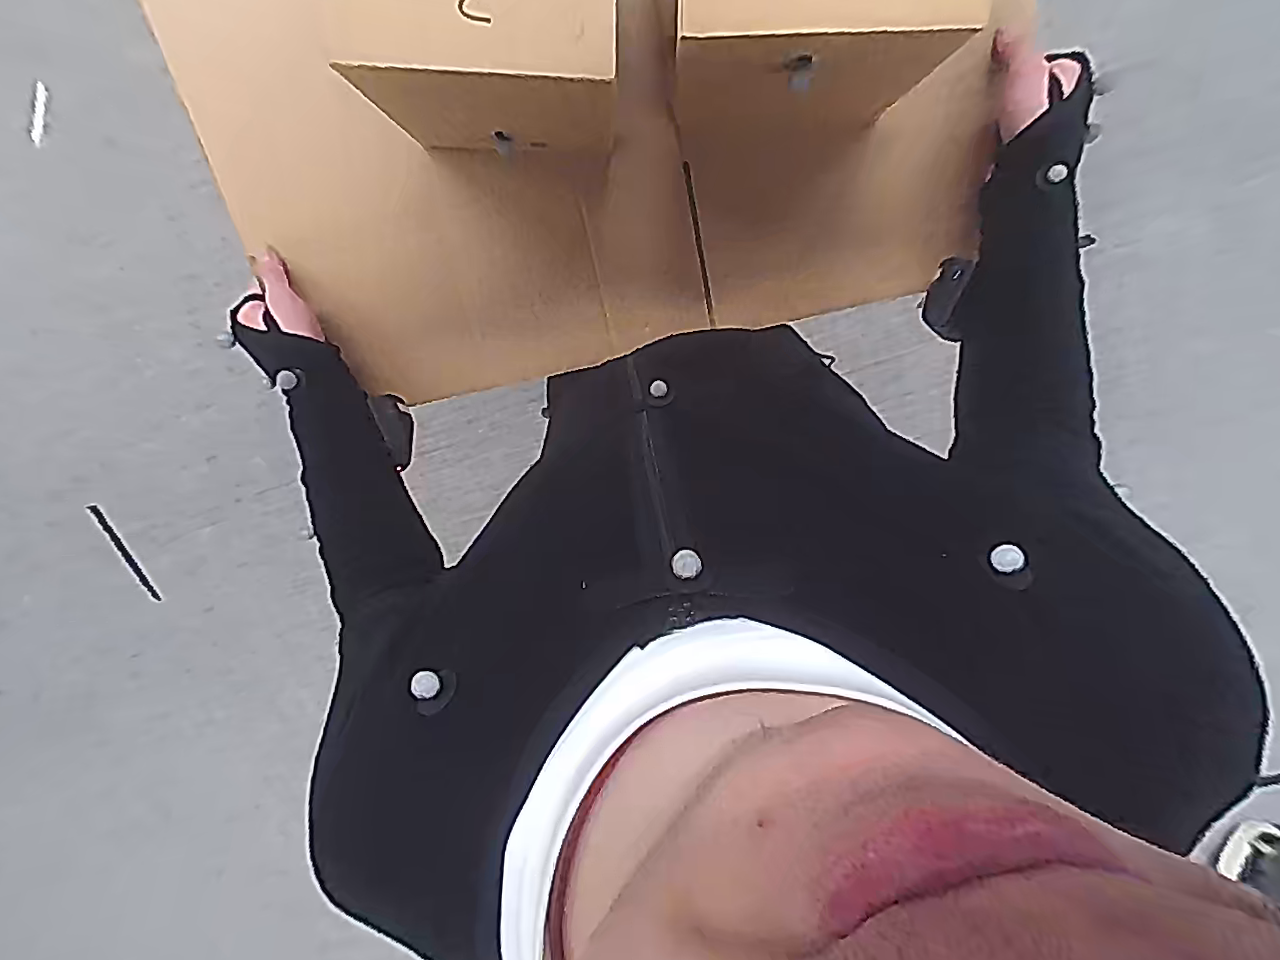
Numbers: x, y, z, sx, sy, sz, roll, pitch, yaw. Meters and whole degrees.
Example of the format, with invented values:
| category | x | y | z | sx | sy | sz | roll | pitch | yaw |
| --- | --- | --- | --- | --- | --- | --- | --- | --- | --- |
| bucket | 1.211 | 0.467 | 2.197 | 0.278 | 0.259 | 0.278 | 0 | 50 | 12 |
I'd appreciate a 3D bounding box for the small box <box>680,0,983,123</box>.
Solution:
| category | x | y | z | sx | sy | sz | roll | pitch | yaw |
| --- | --- | --- | --- | --- | --- | --- | --- | --- | --- |
| small box | 0.119 | -0.366 | 0.374 | 0.179 | 0.176 | 0.168 | 1 | 109 | 4 |
